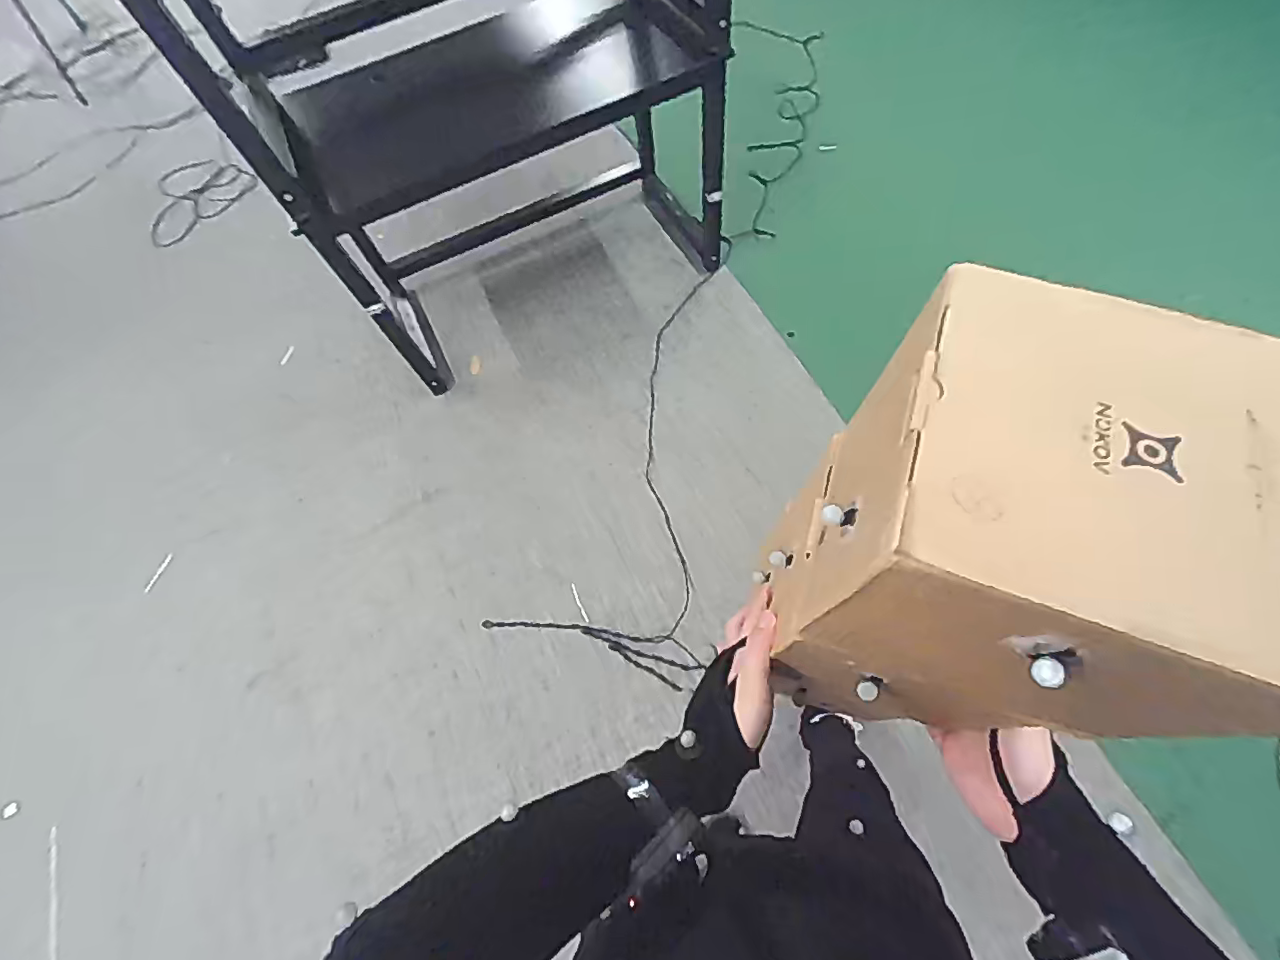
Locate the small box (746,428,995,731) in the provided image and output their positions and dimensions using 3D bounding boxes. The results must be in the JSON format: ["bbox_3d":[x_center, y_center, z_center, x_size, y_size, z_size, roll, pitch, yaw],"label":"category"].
[{"bbox_3d":[0.194,0.089,0.429,0.179,0.176,0.168,17,66,9],"label":"small box"}]

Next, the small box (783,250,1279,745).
[{"bbox_3d":[0.192,0.023,0.279,0.179,0.176,0.168,22,67,10],"label":"small box"}]

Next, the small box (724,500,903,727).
[{"bbox_3d":[0.193,0.151,0.581,0.168,0.176,0.179,17,65,8],"label":"small box"}]
